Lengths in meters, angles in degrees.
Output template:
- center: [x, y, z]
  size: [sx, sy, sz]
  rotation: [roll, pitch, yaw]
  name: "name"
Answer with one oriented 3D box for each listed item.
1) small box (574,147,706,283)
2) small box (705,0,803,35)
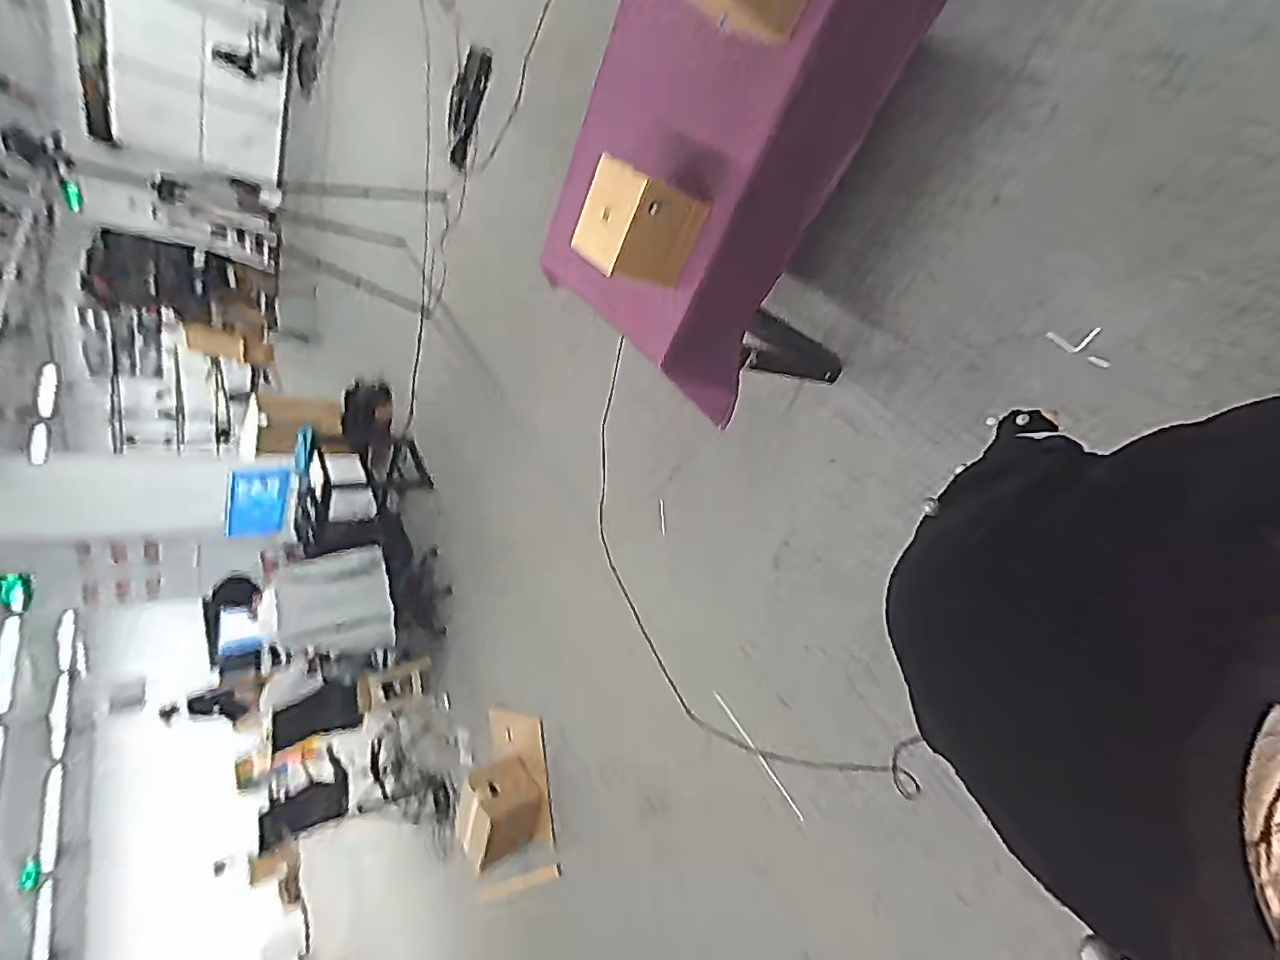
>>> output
- center: [0.000, -0.515, 1.071]
  size: [0.168, 0.176, 0.179]
  rotation: [50, 125, 35]
  name: "small box"
- center: [0.180, -0.853, 0.855]
  size: [0.168, 0.176, 0.179]
  rotation: [51, 126, 33]
  name: "small box"
